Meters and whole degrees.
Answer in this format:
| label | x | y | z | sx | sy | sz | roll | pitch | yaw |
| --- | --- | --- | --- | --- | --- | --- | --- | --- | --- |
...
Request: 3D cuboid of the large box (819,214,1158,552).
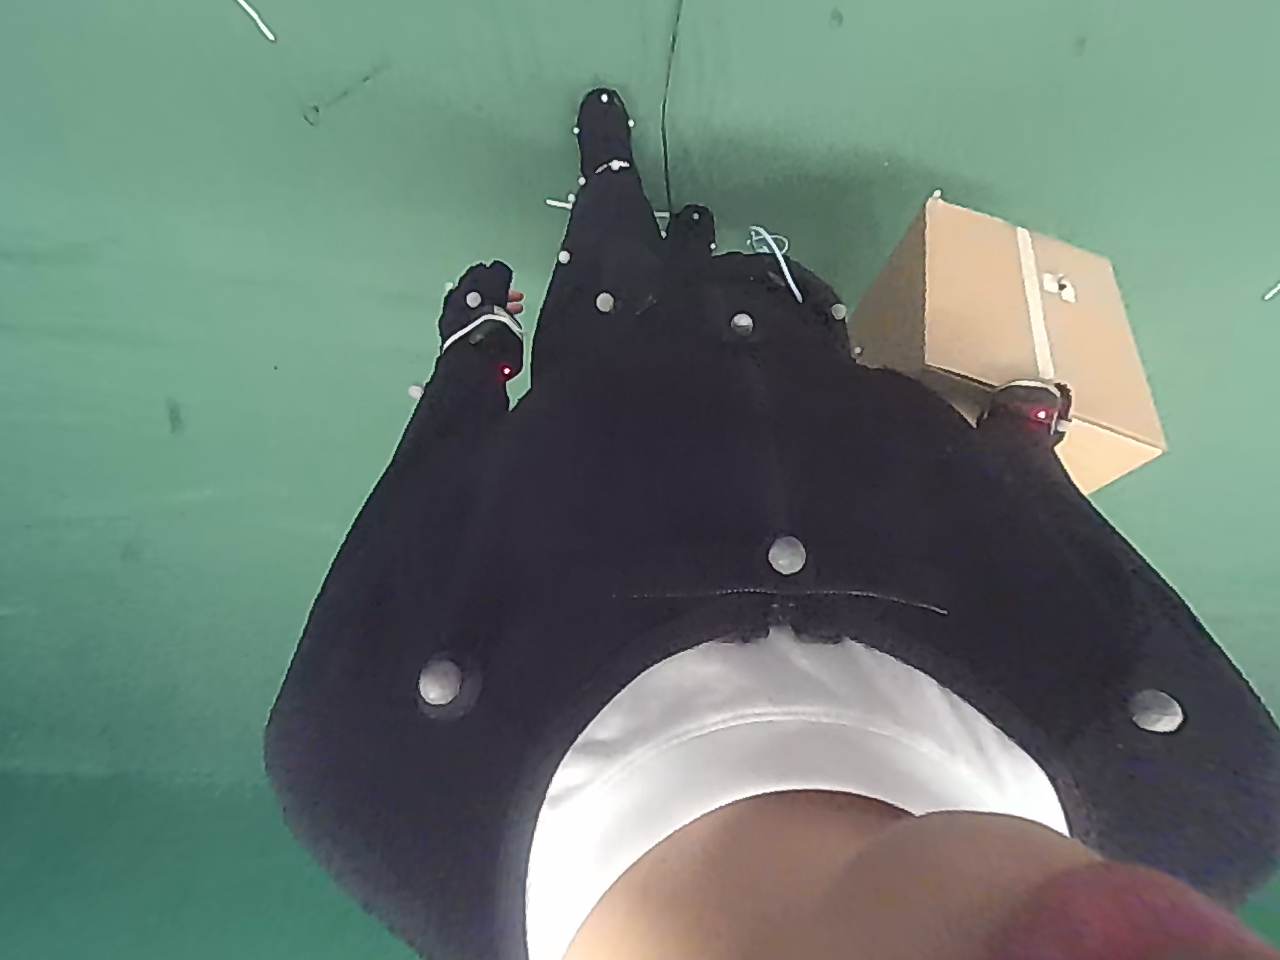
| label | x | y | z | sx | sy | sz | roll | pitch | yaw |
| --- | --- | --- | --- | --- | --- | --- | --- | --- | --- |
| large box | 0.519 | -0.153 | 0.895 | 0.320 | 0.408 | 0.320 | 20 | 146 | 0 |
